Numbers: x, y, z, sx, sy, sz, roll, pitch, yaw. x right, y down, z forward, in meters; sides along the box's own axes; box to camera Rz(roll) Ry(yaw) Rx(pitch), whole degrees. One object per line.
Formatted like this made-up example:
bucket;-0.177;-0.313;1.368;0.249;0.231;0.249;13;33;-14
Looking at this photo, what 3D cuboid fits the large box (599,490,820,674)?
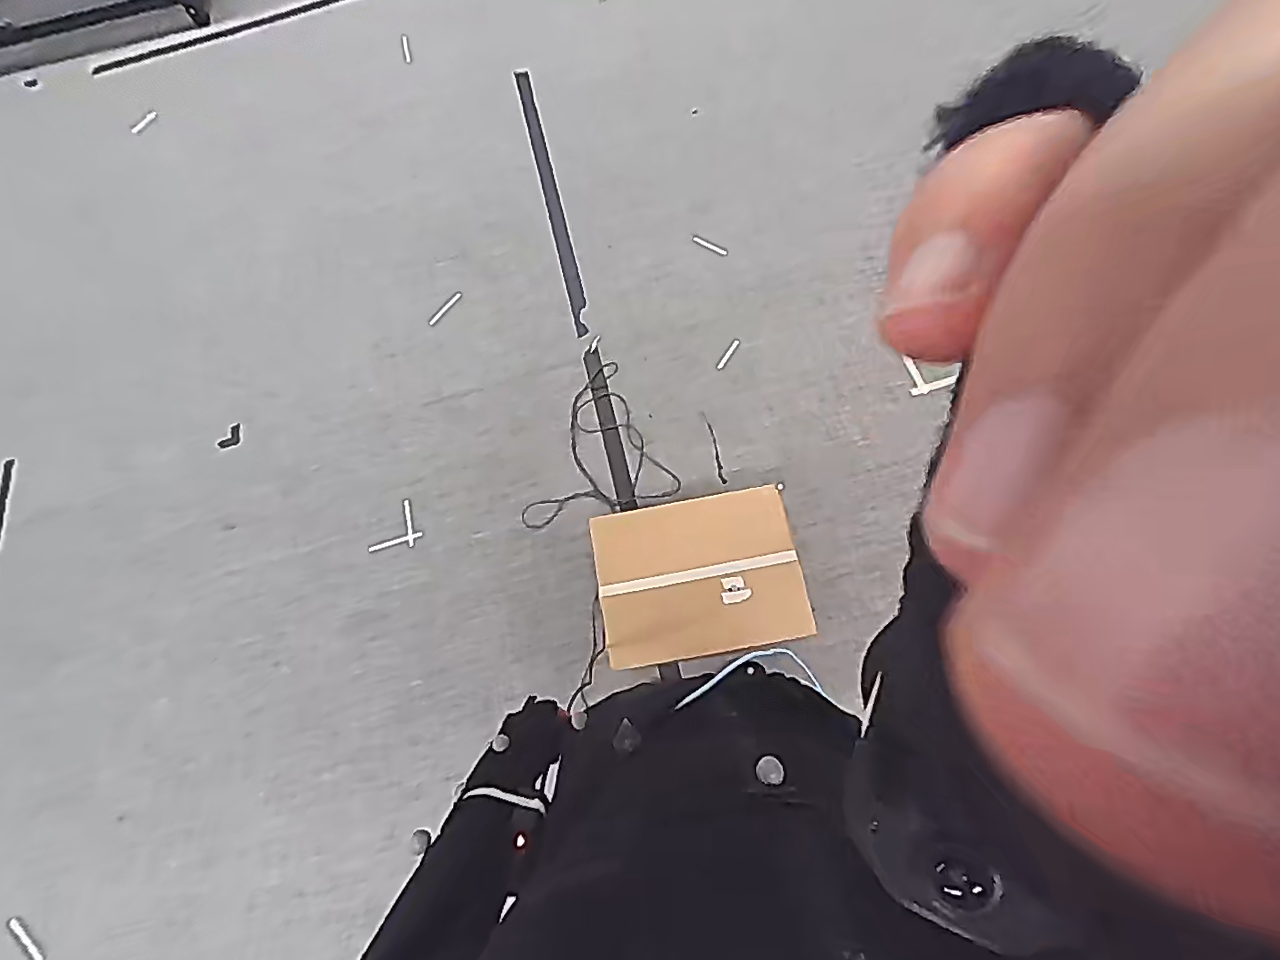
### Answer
large box;0.143;0.249;1.239;0.408;0.320;0.320;-10;71;2
